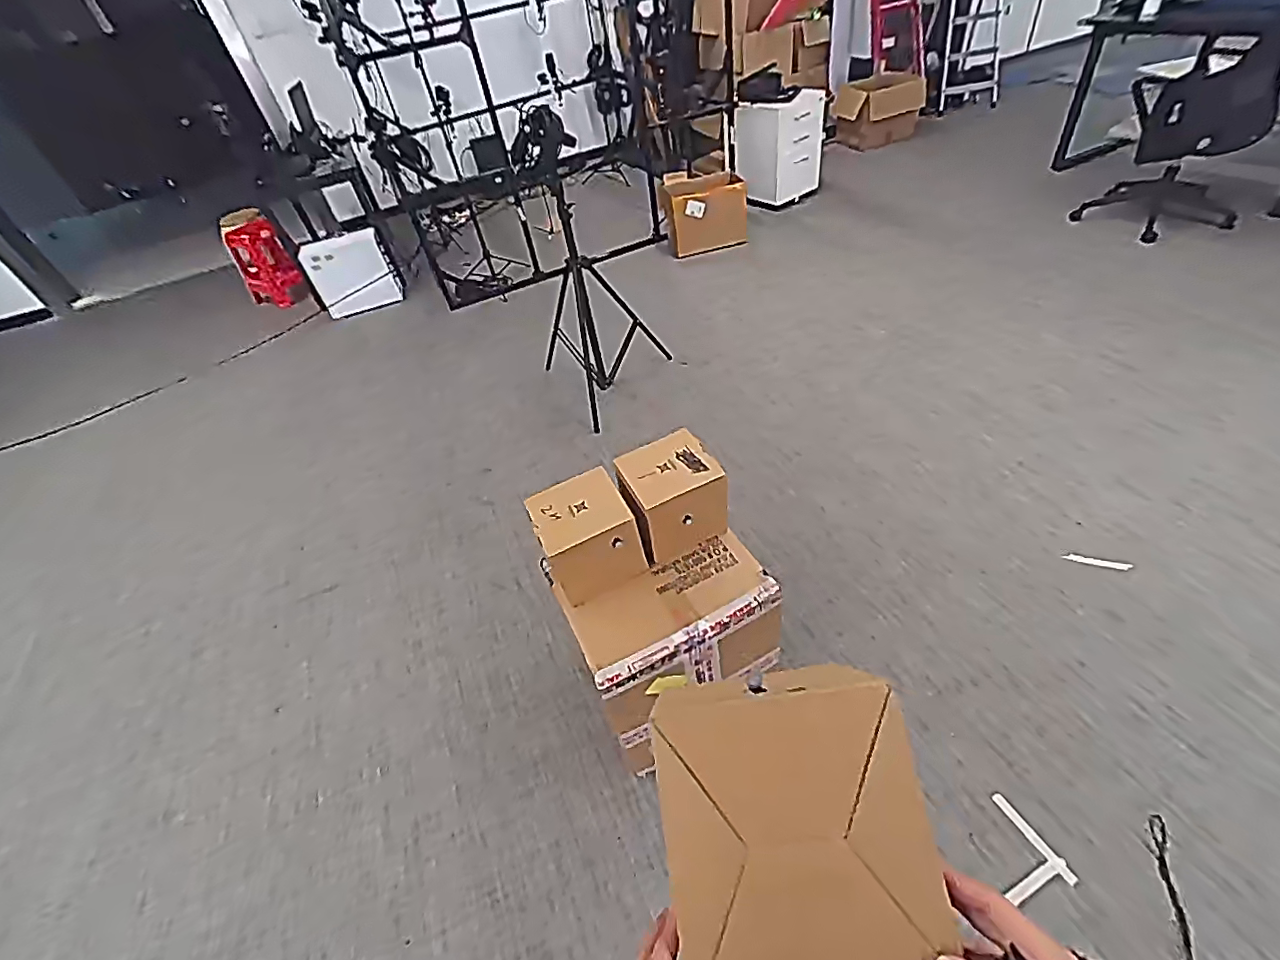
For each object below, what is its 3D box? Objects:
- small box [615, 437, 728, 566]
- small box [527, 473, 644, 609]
[{"bbox_3d":[0.067,0.045,1.128,0.179,0.176,0.168,-23,46,-13],"label":"small box"},{"bbox_3d":[-0.102,0.123,1.084,0.179,0.176,0.168,-25,45,-10],"label":"small box"}]
